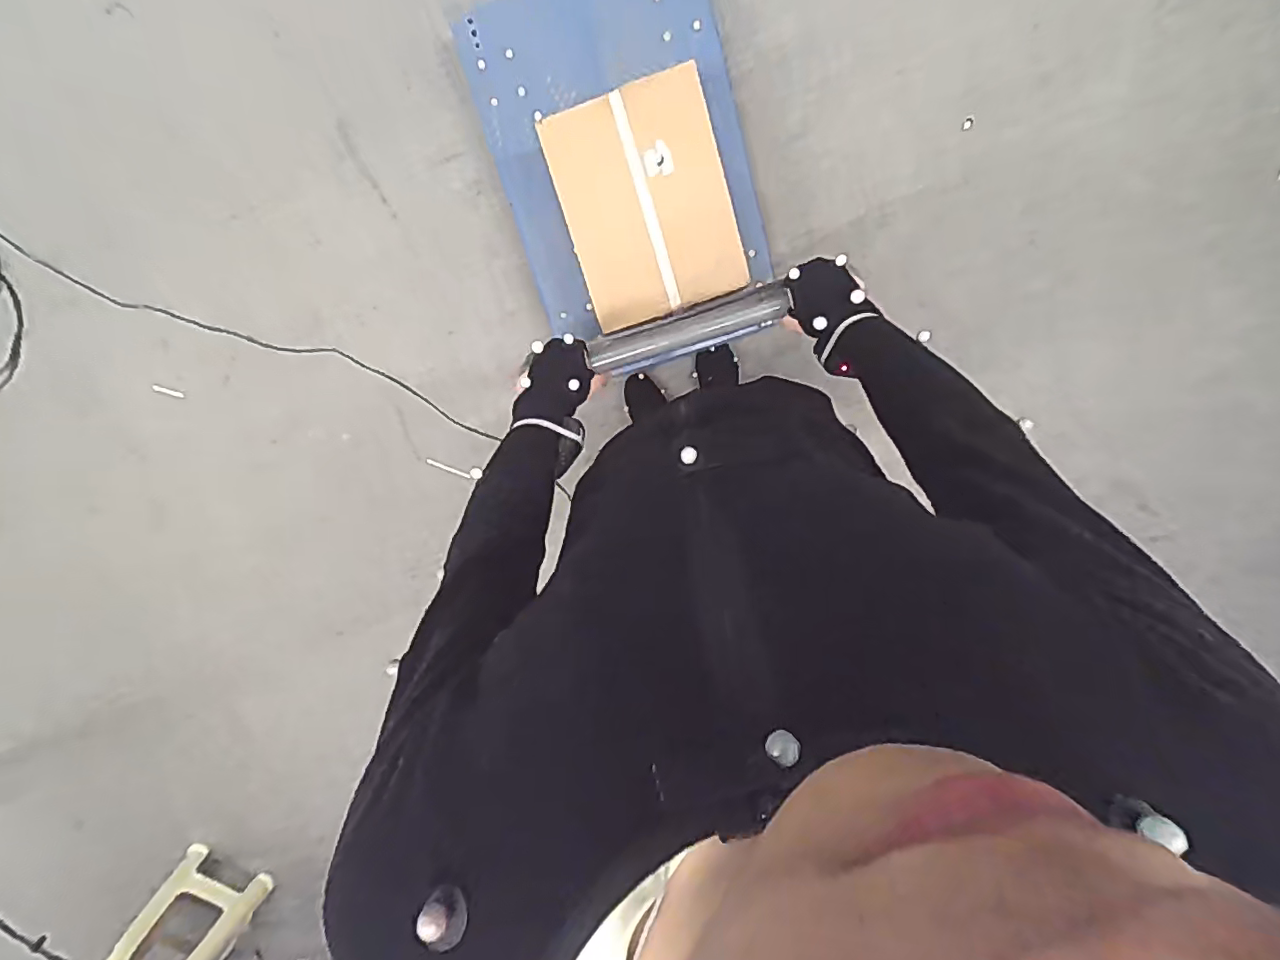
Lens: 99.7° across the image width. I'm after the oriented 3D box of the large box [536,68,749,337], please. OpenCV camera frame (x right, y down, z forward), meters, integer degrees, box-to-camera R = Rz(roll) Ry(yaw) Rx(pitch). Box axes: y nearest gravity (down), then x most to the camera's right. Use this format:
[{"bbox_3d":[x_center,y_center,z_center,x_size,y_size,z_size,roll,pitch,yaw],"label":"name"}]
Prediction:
[{"bbox_3d":[0.019,-0.557,1.182,0.320,0.320,0.408,-17,102,6],"label":"large box"}]
